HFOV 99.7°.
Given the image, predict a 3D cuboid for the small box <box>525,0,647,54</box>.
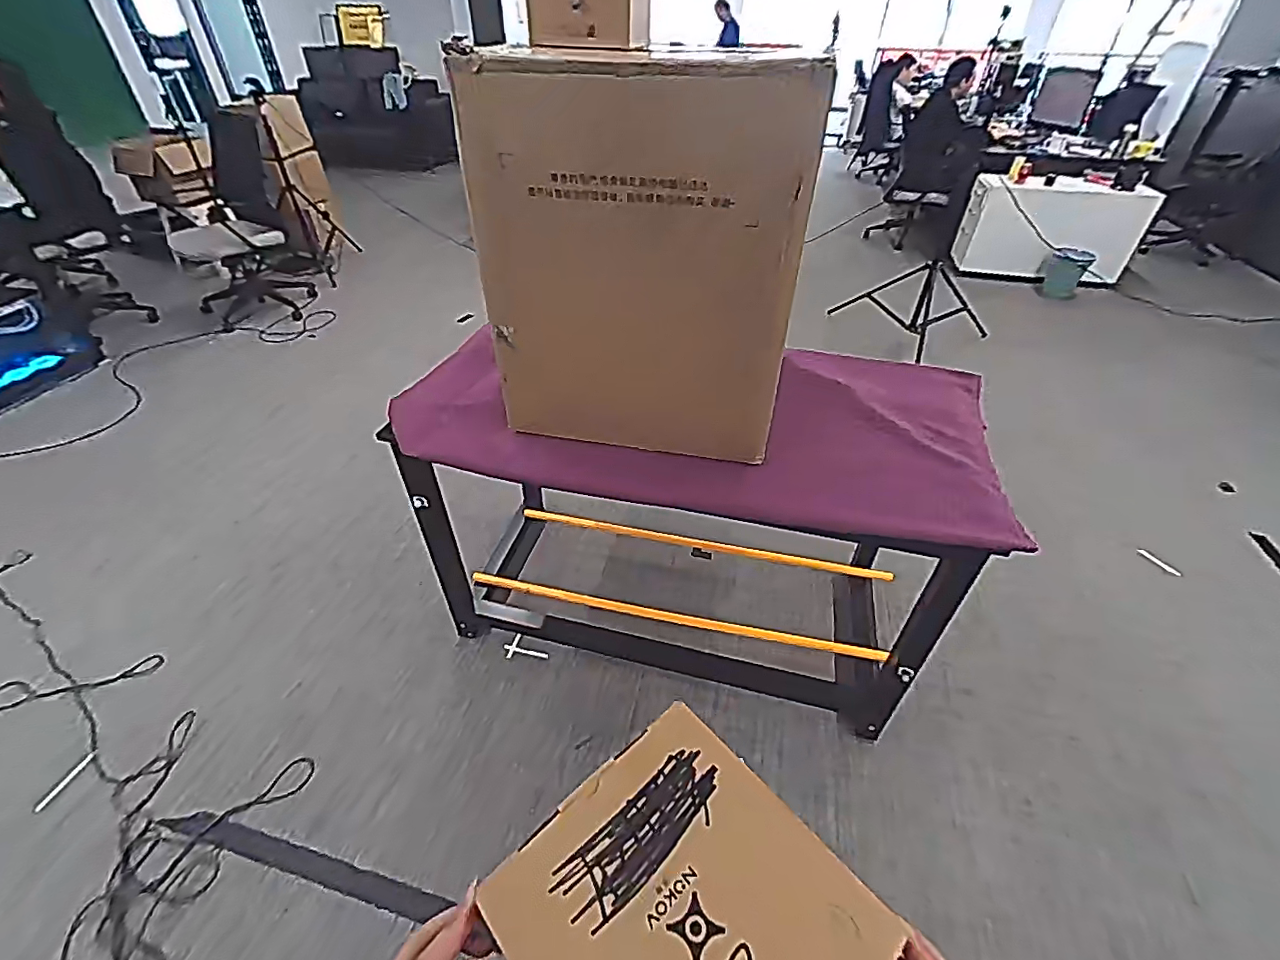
[{"bbox_3d":[-0.083,-0.787,0.853,0.168,0.176,0.179,8,40,9],"label":"small box"}]
